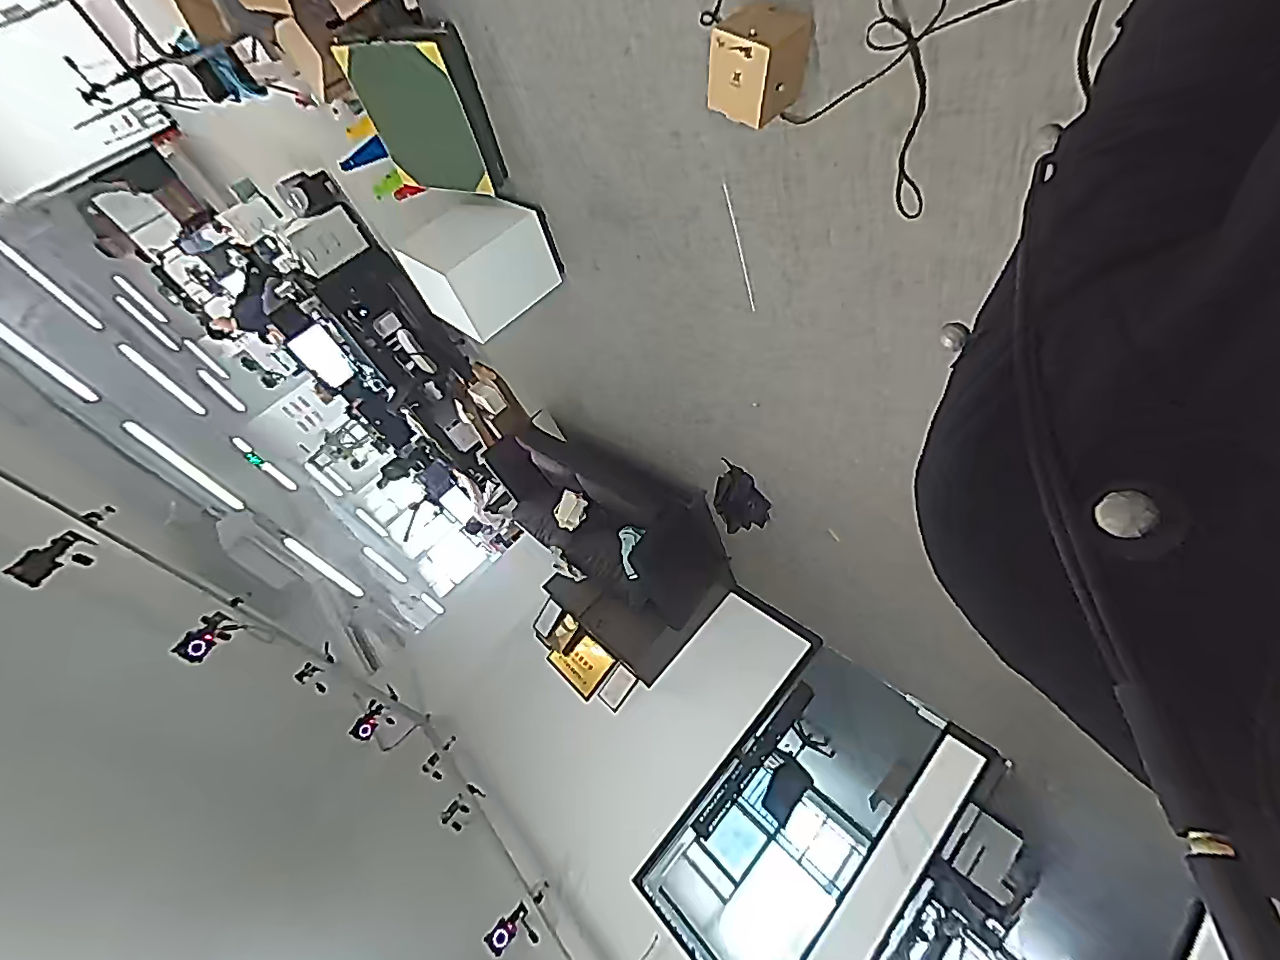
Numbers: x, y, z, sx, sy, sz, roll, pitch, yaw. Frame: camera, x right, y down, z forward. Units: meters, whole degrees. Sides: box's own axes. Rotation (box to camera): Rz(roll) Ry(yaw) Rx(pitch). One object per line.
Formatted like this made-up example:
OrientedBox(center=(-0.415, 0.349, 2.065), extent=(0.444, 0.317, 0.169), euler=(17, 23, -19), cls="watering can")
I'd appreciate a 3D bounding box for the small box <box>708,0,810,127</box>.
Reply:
OrientedBox(center=(0.285, -1.006, 1.303), extent=(0.168, 0.176, 0.179), euler=(39, 161, 21), cls="small box")
